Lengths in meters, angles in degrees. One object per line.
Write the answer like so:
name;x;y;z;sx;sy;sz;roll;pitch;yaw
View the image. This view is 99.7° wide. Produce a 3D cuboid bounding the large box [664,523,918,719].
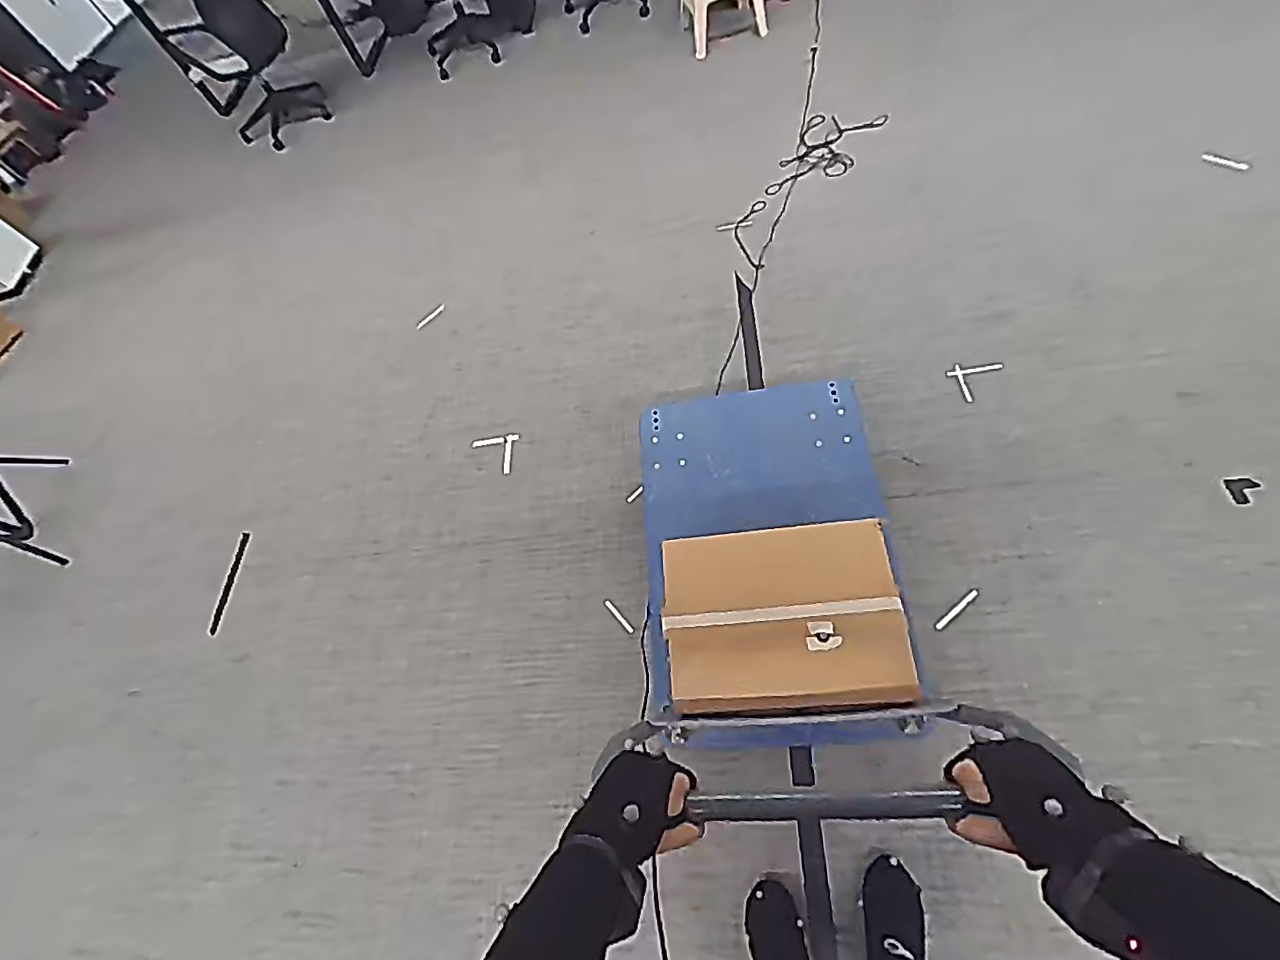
large box;0.279;0.305;1.104;0.408;0.320;0.320;-8;66;9
